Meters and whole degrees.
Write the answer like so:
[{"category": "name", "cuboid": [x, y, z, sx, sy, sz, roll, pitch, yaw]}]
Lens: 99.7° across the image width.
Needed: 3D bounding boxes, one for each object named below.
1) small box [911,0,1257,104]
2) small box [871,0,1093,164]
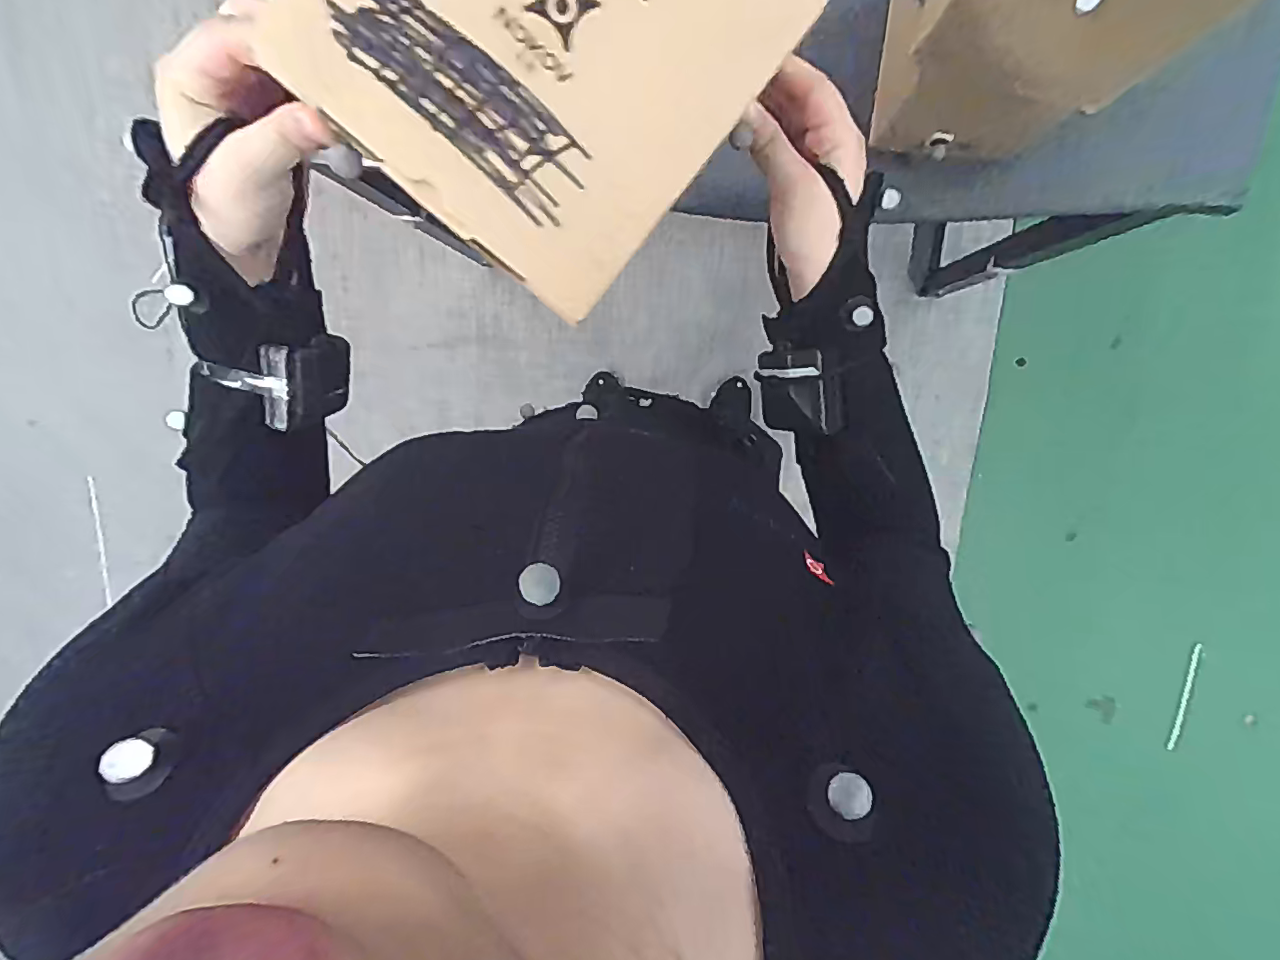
[{"category": "small box", "cuboid": [0.341, -0.417, 0.397, 0.179, 0.176, 0.168, 17, 100, 3]}, {"category": "small box", "cuboid": [0.355, -0.458, 0.554, 0.168, 0.176, 0.179, 7, 100, 4]}]
